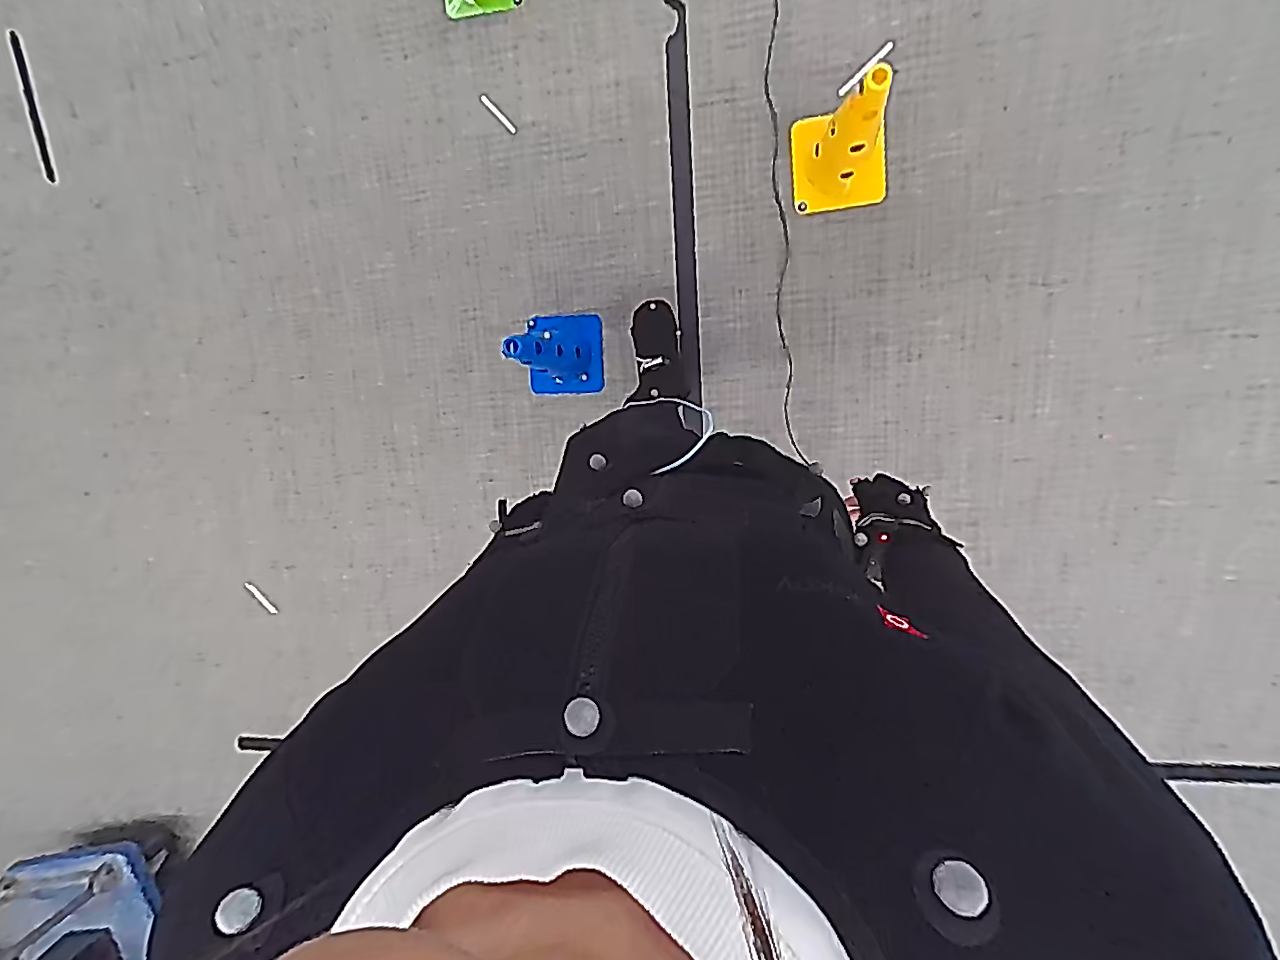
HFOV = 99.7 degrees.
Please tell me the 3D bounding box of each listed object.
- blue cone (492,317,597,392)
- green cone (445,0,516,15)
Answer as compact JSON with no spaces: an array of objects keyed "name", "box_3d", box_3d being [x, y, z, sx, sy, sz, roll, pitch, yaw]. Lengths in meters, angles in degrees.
[{"name":"blue cone","box_3d":[-0.234,-0.298,1.252,0.192,0.380,0.193,2,100,10]},{"name":"green cone","box_3d":[-0.406,-1.188,1.100,0.202,0.368,0.200,-2,100,11]}]
